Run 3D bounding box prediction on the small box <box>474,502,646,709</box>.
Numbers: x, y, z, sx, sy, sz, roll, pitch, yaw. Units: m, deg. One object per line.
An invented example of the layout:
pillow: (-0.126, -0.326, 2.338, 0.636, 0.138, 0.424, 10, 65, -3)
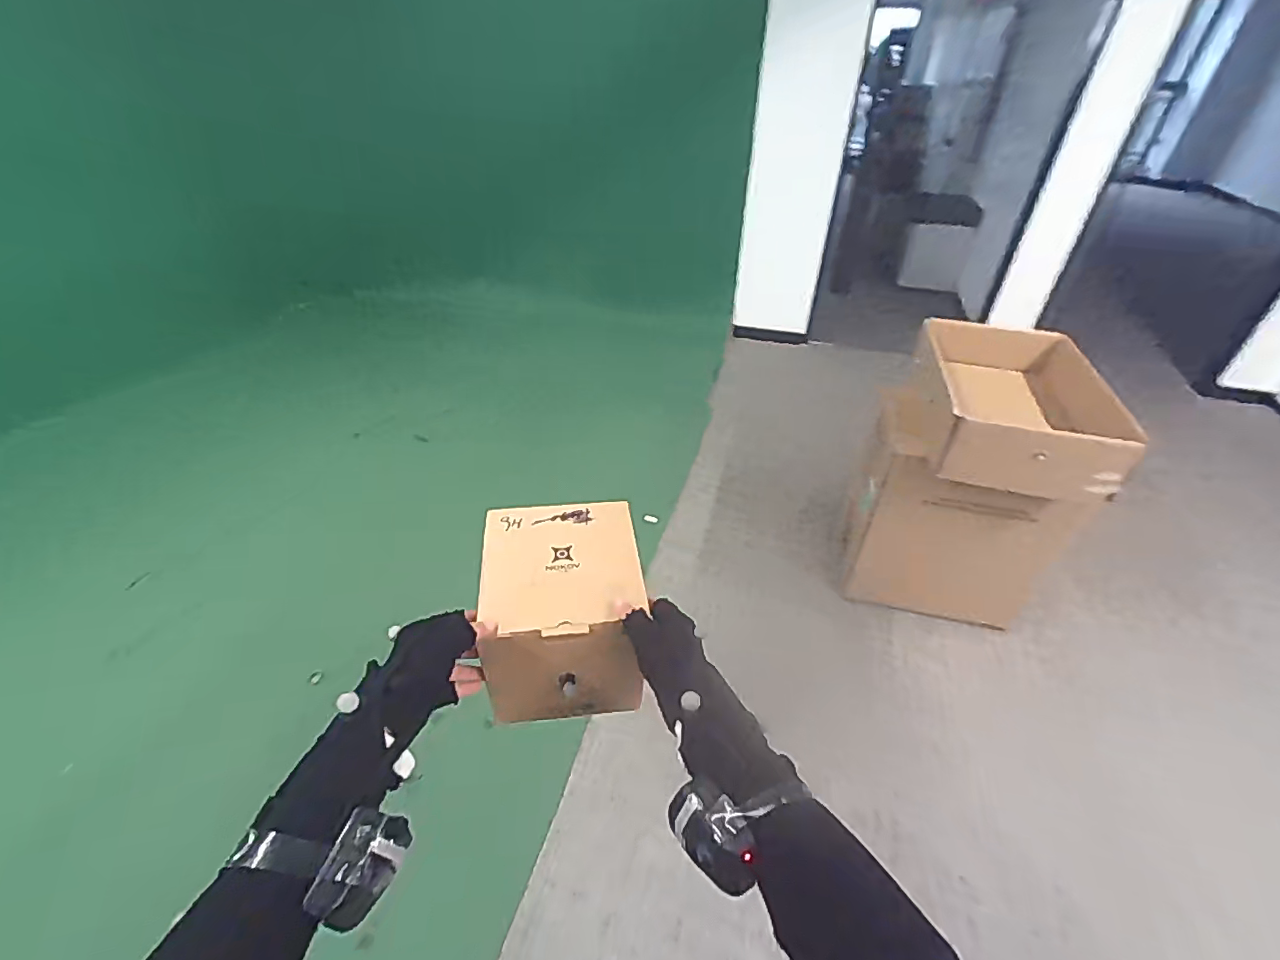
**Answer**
small box: (-0.086, 0.146, 0.621, 0.168, 0.176, 0.179, -1, 40, -8)
